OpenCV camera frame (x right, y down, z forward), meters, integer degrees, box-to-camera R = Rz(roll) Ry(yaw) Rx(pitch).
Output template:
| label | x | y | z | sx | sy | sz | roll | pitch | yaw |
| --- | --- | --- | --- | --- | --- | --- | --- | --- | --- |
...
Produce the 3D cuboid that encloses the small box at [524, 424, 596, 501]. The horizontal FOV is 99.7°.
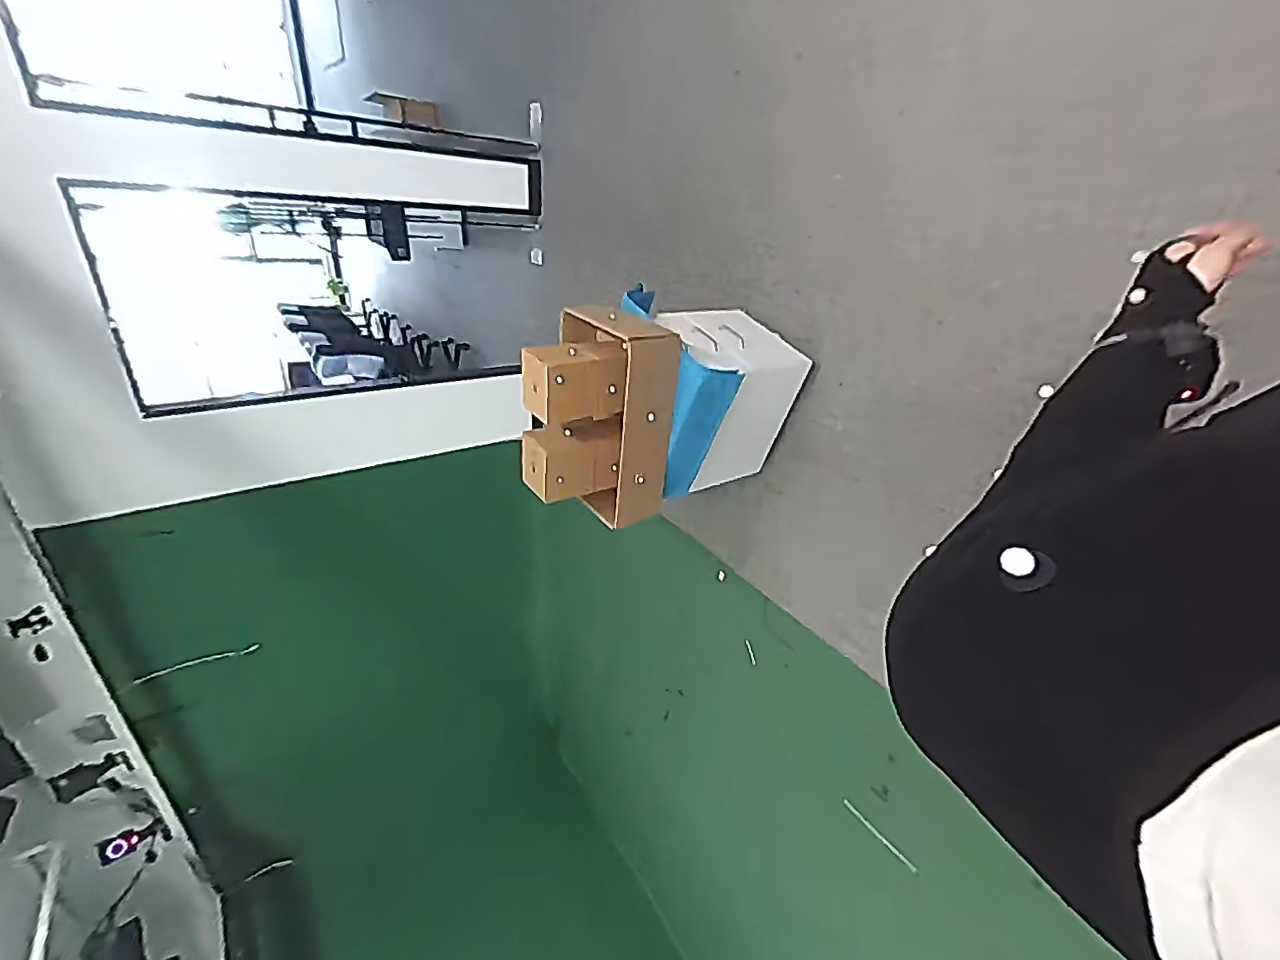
| label | x | y | z | sx | sy | sz | roll | pitch | yaw |
| --- | --- | --- | --- | --- | --- | --- | --- | --- | --- |
| small box | -0.251 | -0.059 | 1.684 | 0.168 | 0.176 | 0.179 | 38 | 130 | 44 |
